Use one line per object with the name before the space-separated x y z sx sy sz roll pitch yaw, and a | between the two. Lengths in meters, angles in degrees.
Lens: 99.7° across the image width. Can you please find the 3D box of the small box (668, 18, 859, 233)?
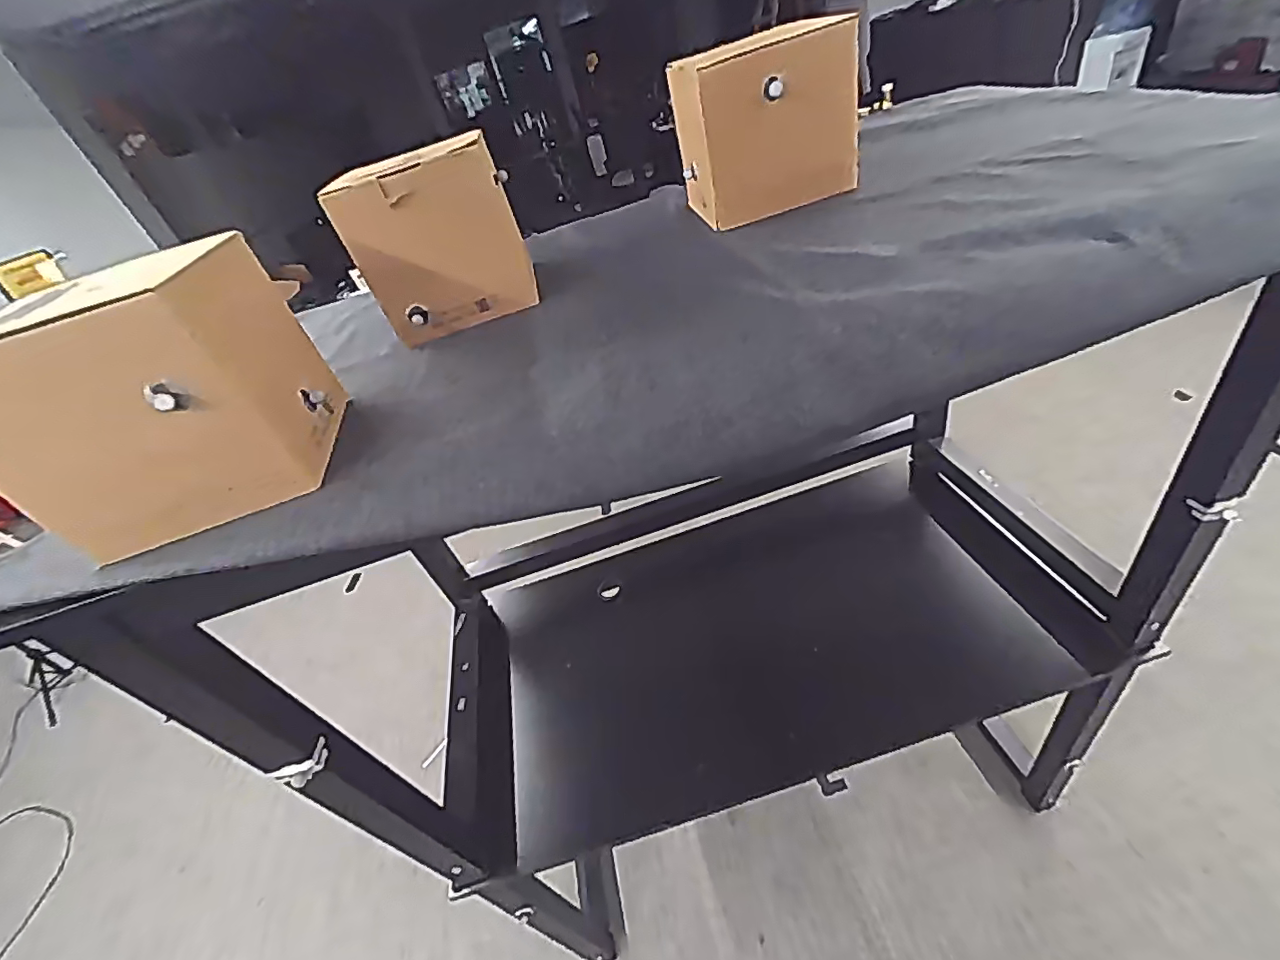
small box | 0.148 -0.430 0.662 0.179 0.176 0.168 -18 38 3

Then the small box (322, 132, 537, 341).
small box | -0.229 -0.283 0.639 0.168 0.176 0.179 -19 37 0
